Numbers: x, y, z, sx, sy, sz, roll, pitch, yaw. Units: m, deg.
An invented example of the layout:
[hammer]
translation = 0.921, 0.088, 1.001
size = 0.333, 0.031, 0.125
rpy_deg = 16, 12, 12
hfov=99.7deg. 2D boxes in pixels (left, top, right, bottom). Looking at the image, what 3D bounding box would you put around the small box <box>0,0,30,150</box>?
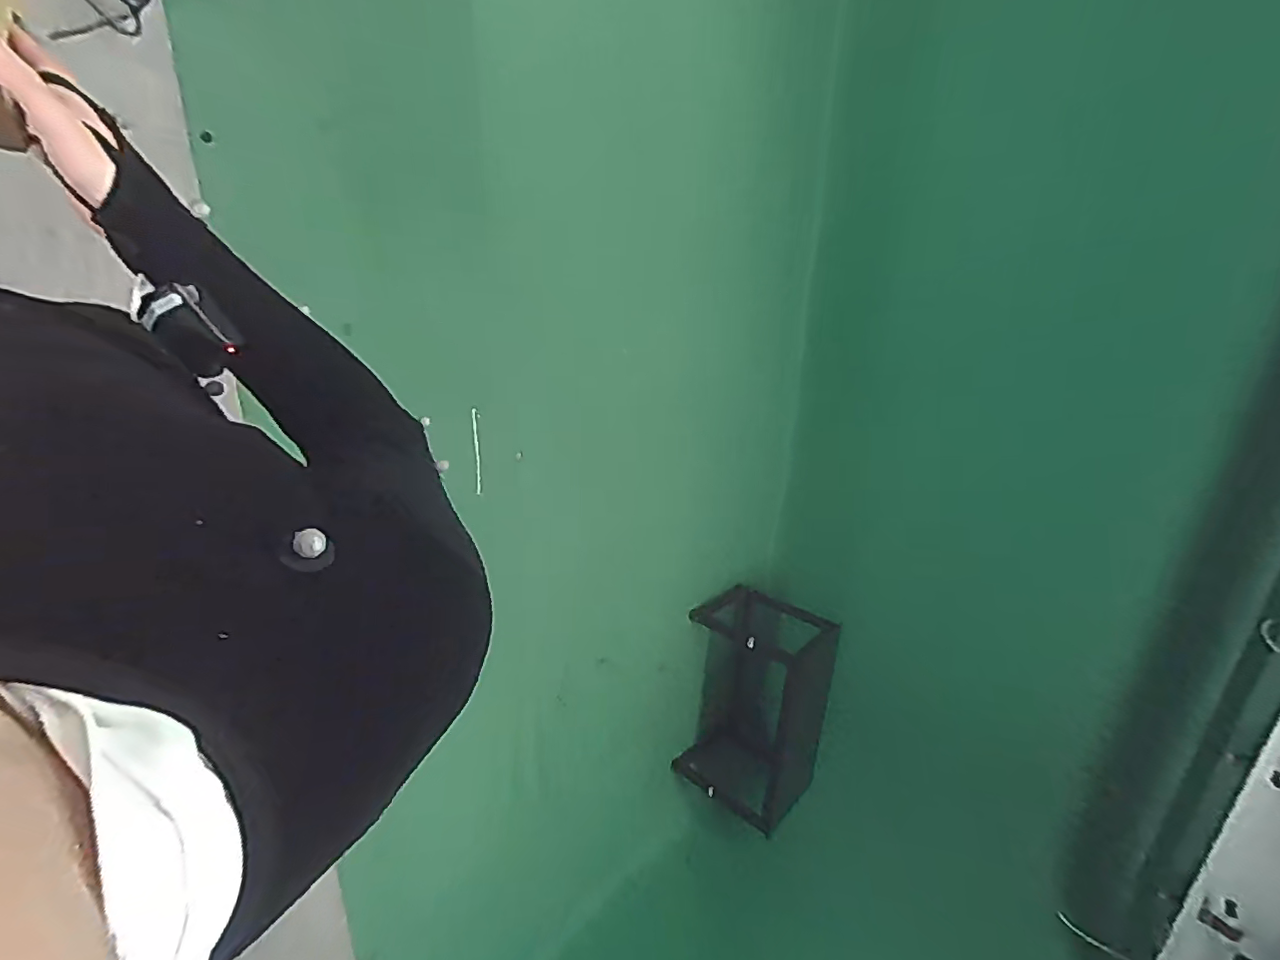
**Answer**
[small box]
translation = -0.530, -0.355, 0.349
size = 0.168, 0.176, 0.179
rpy_deg = -3, 100, -43
